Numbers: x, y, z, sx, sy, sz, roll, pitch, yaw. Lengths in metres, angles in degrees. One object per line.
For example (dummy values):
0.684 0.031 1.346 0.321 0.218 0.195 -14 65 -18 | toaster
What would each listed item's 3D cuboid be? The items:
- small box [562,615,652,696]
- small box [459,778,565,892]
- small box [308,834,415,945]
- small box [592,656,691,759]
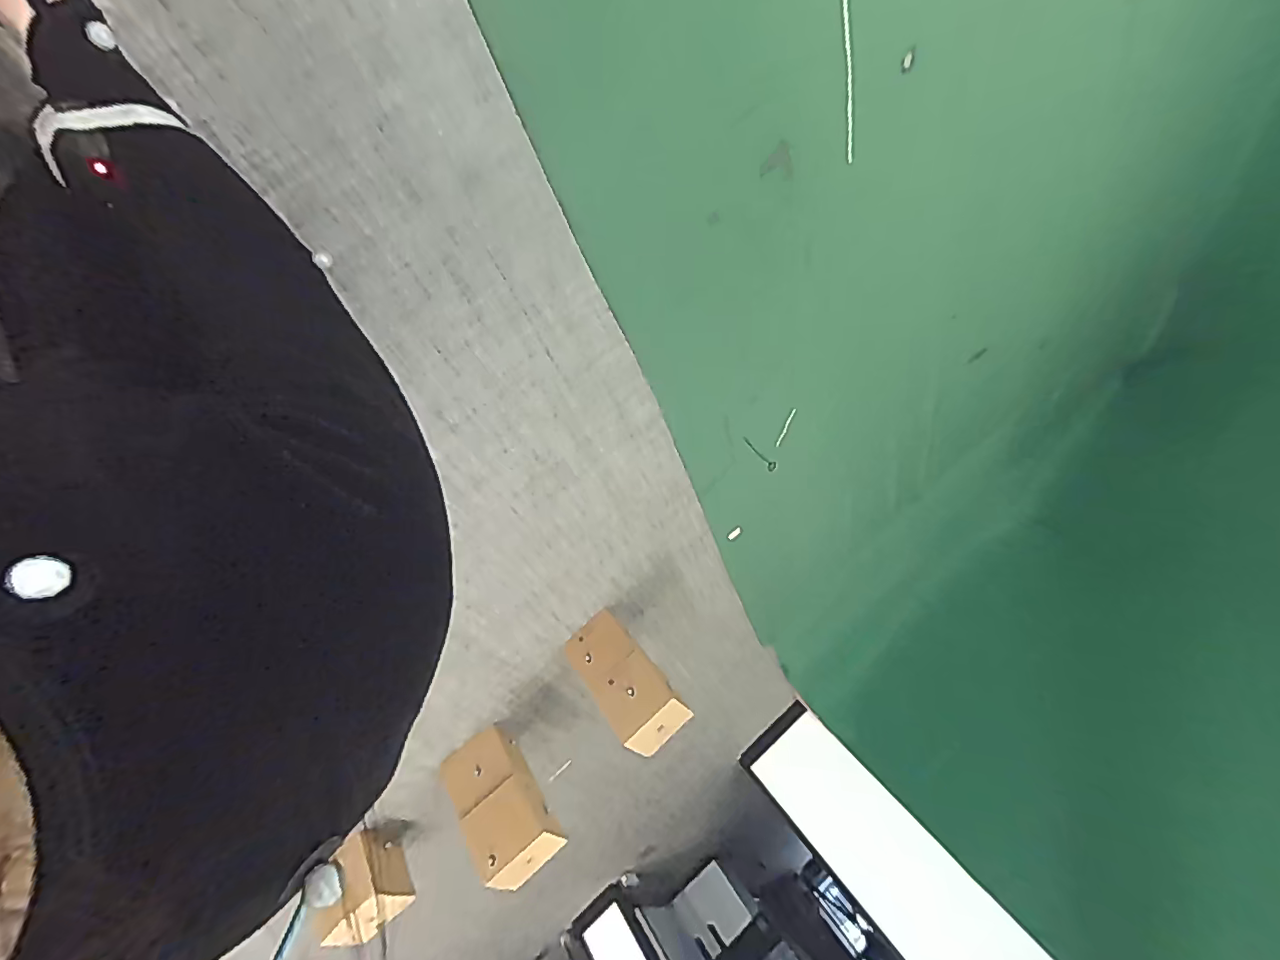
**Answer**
-0.091 0.509 1.525 0.168 0.176 0.179 -40 139 -7 | small box
-0.327 0.902 1.381 0.179 0.176 0.168 -37 138 -12 | small box
-0.732 1.067 1.416 0.168 0.176 0.179 -38 138 -10 | small box
0.001 0.591 1.415 0.168 0.176 0.179 -41 139 -6 | small box
